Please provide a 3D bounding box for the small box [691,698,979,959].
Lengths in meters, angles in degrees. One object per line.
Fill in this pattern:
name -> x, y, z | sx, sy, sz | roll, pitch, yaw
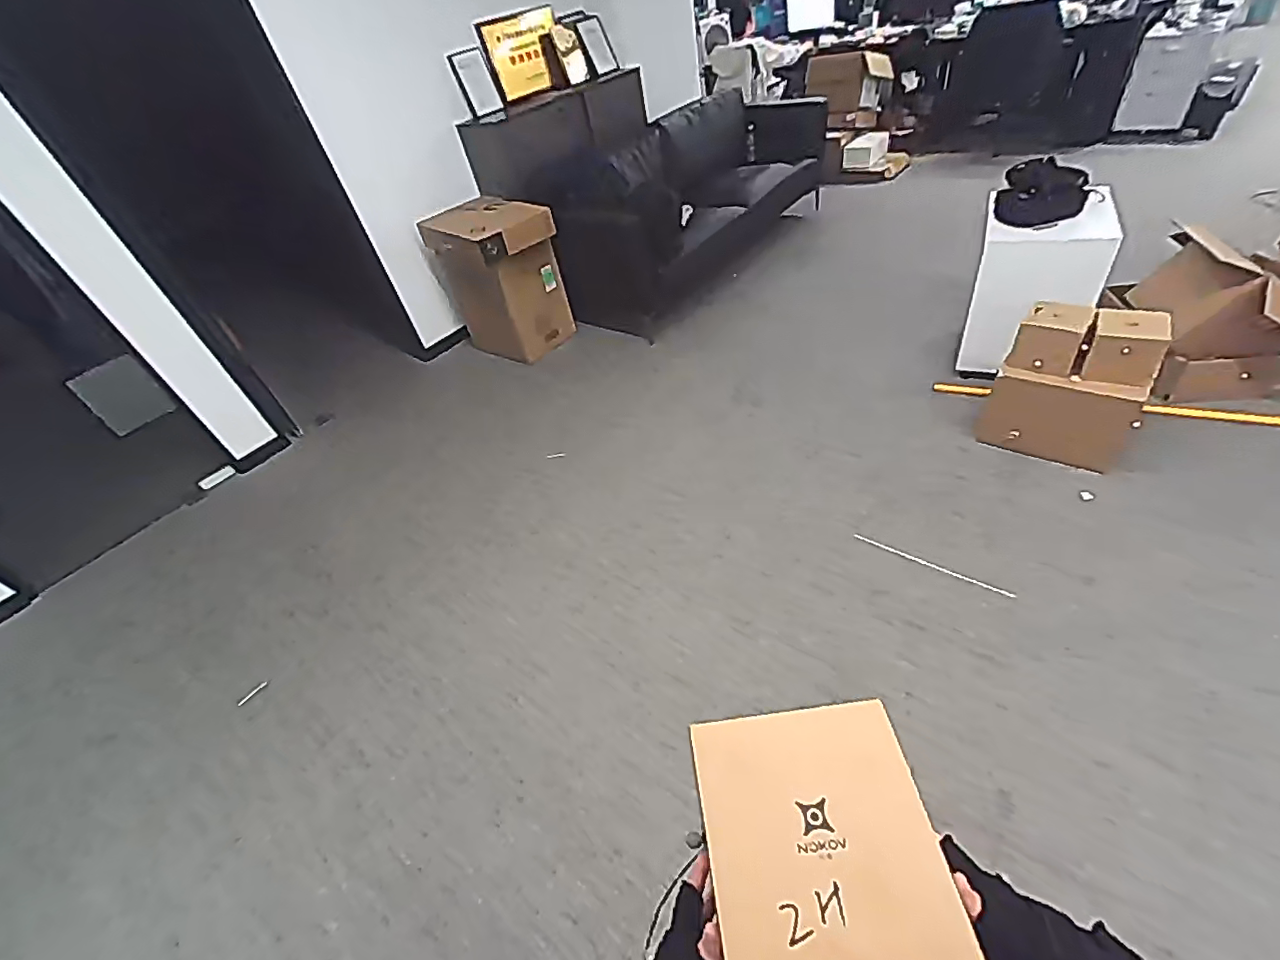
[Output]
small box -> 0.136, 0.309, 0.455 | 0.168, 0.176, 0.179 | -8, 47, 2
